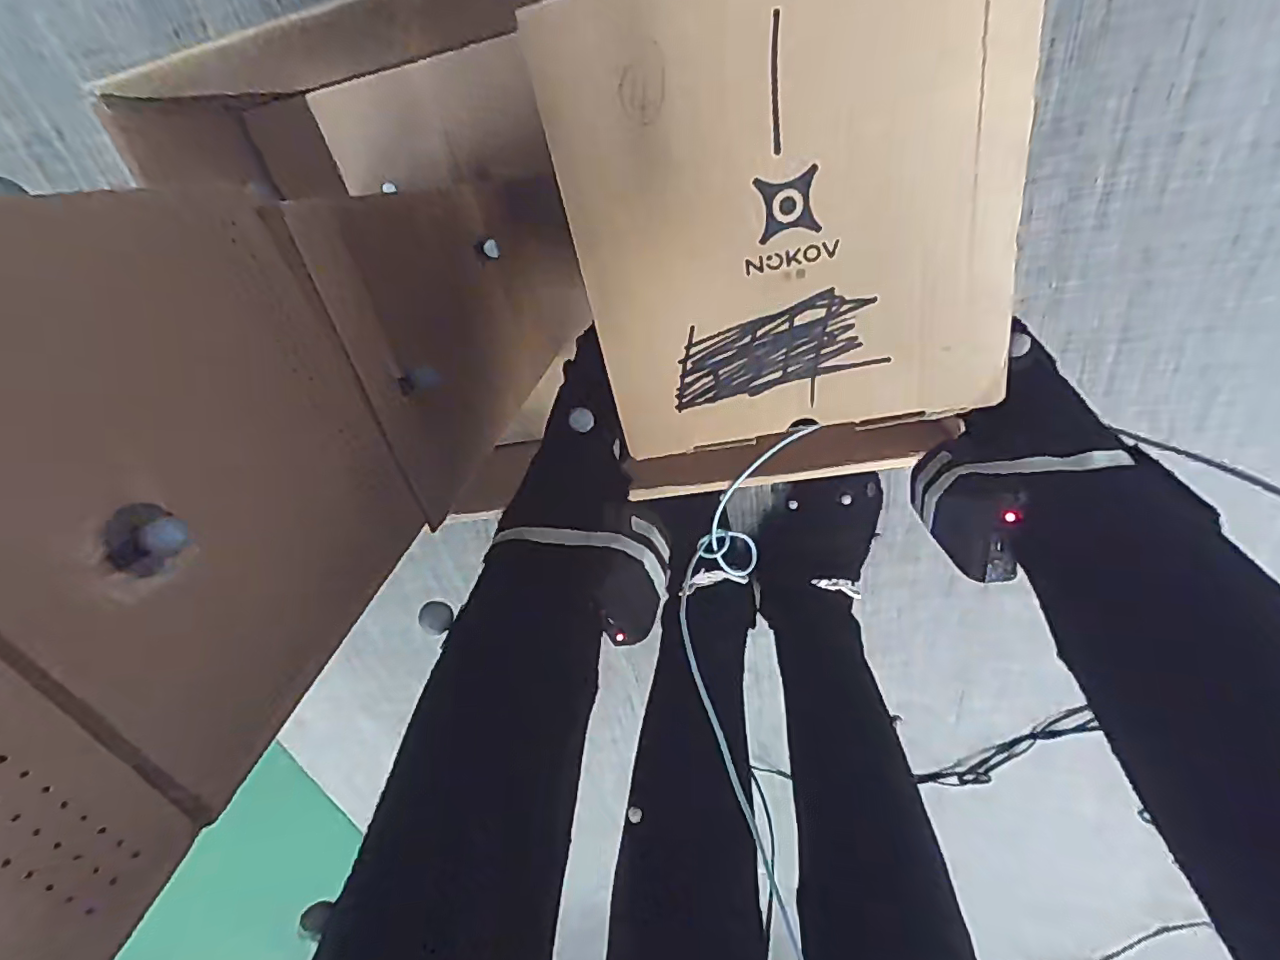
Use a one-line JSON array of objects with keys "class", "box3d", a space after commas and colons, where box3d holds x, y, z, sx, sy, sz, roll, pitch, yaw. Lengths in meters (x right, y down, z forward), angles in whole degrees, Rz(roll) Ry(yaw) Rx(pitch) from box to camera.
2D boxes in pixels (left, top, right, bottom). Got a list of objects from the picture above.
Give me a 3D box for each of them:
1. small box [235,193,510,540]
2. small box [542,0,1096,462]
[{"class": "small box", "box3d": [-0.203, -0.072, 0.344, 0.168, 0.176, 0.179, -8, 120, 10]}, {"class": "small box", "box3d": [0.068, -0.130, 0.266, 0.168, 0.176, 0.179, -6, 119, 9]}]
